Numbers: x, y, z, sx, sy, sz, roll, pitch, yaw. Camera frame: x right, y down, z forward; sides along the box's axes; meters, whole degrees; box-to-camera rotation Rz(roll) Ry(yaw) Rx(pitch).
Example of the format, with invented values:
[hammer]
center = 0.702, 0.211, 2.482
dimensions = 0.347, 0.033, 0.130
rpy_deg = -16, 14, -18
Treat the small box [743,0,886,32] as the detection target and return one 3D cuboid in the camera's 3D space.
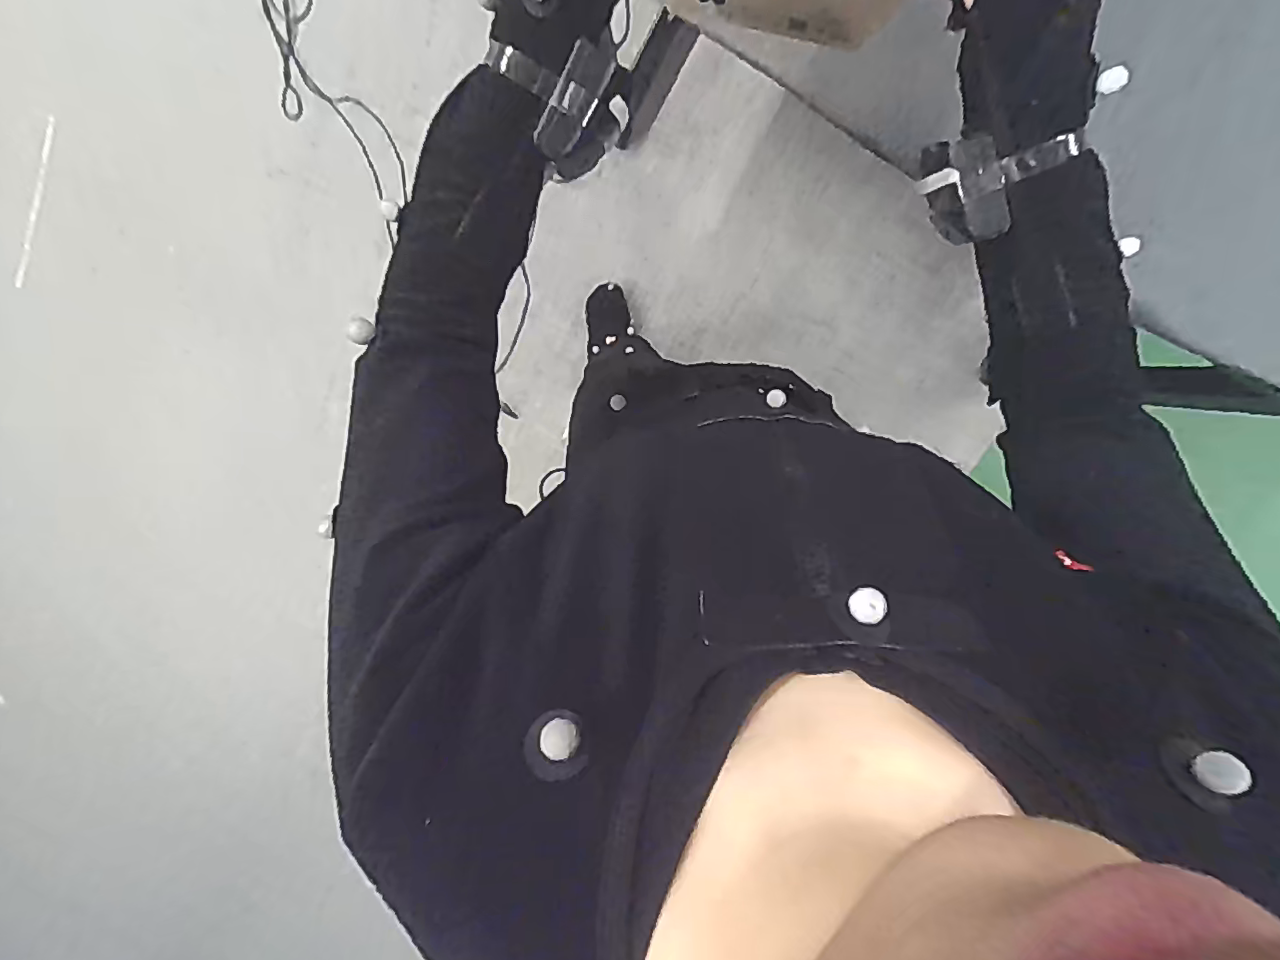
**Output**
[small box]
center = 0.119, -0.430, 0.333
dimensions = 0.168, 0.176, 0.179
rpy_deg = 11, 104, -3
